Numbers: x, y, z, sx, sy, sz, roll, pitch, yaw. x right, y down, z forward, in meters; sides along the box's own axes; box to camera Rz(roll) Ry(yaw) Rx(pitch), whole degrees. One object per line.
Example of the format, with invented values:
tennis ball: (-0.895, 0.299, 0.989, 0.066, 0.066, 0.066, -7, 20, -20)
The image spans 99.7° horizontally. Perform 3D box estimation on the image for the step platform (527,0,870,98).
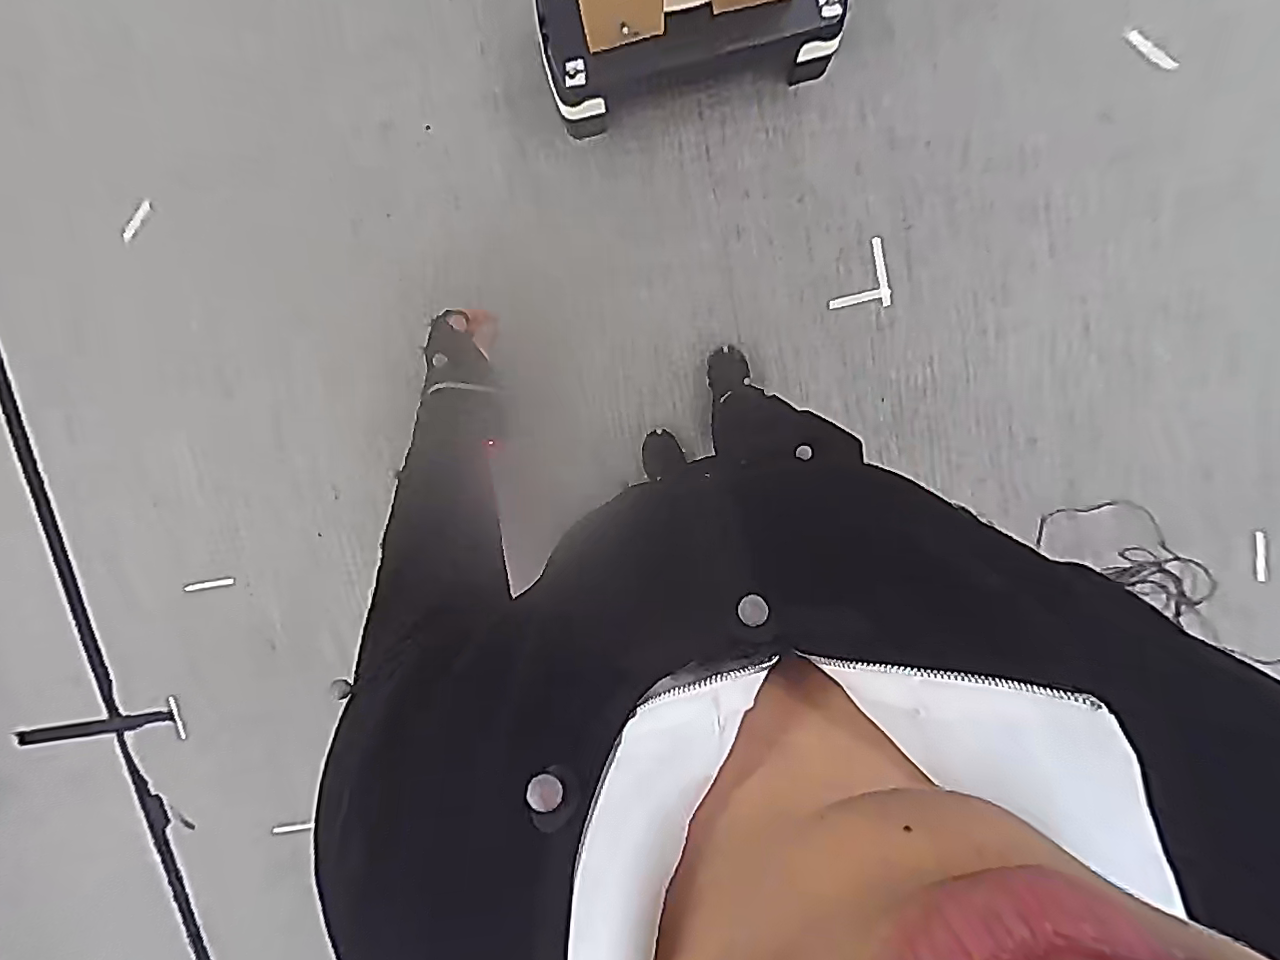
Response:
step platform: (0.117, -0.999, 1.039, 0.684, 0.204, 0.286, -12, 97, 3)
